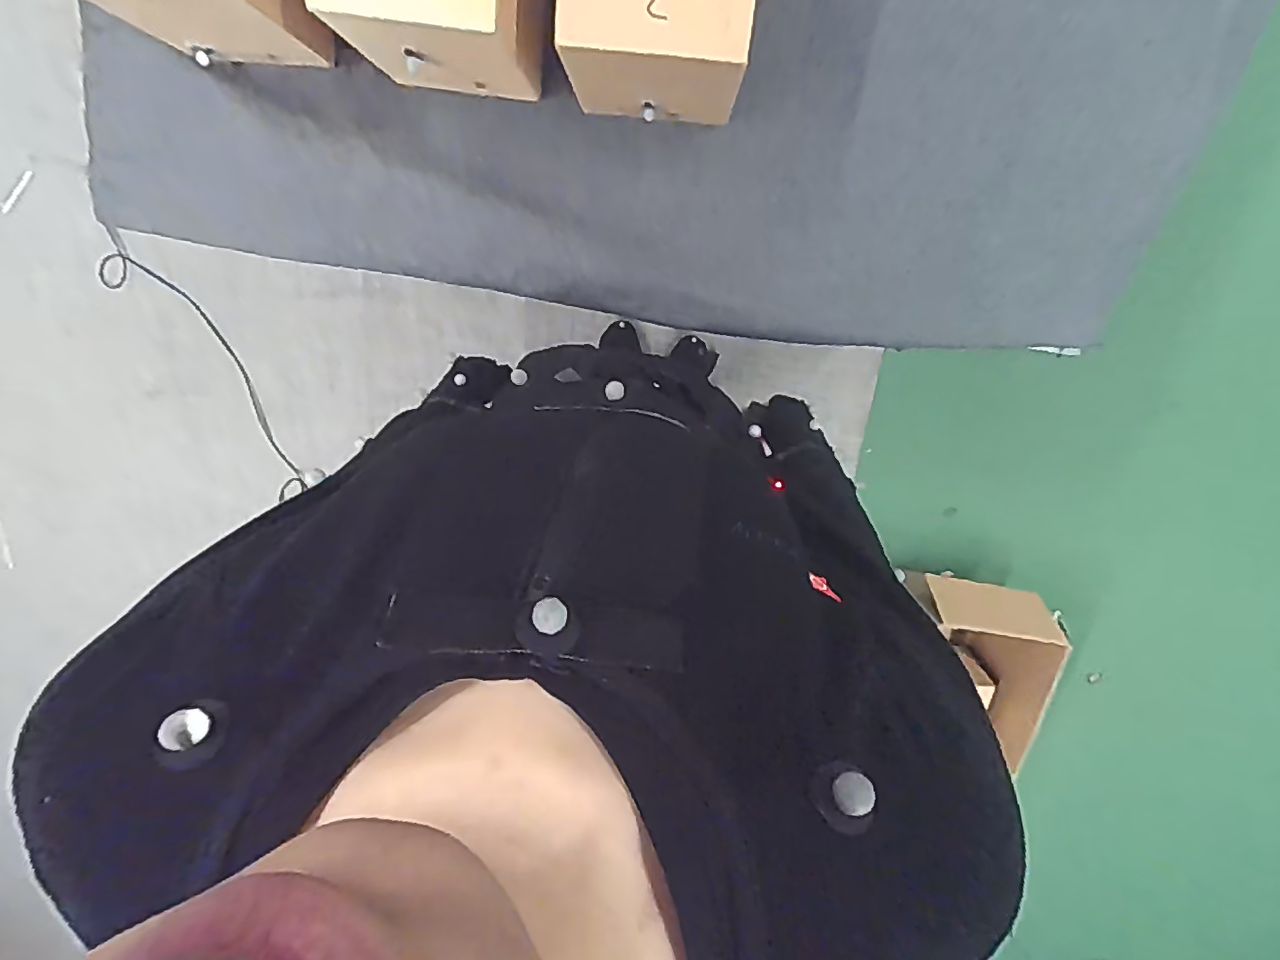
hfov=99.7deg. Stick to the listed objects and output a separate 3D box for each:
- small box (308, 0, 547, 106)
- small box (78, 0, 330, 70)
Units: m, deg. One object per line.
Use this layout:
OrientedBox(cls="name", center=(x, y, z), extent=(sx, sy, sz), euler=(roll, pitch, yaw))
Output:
OrientedBox(cls="small box", center=(-0.185, -0.485, 0.509), extent=(0.168, 0.176, 0.179), euler=(8, 106, 0))
OrientedBox(cls="small box", center=(-0.419, -0.521, 0.507), extent=(0.168, 0.176, 0.179), euler=(4, 106, 1))
